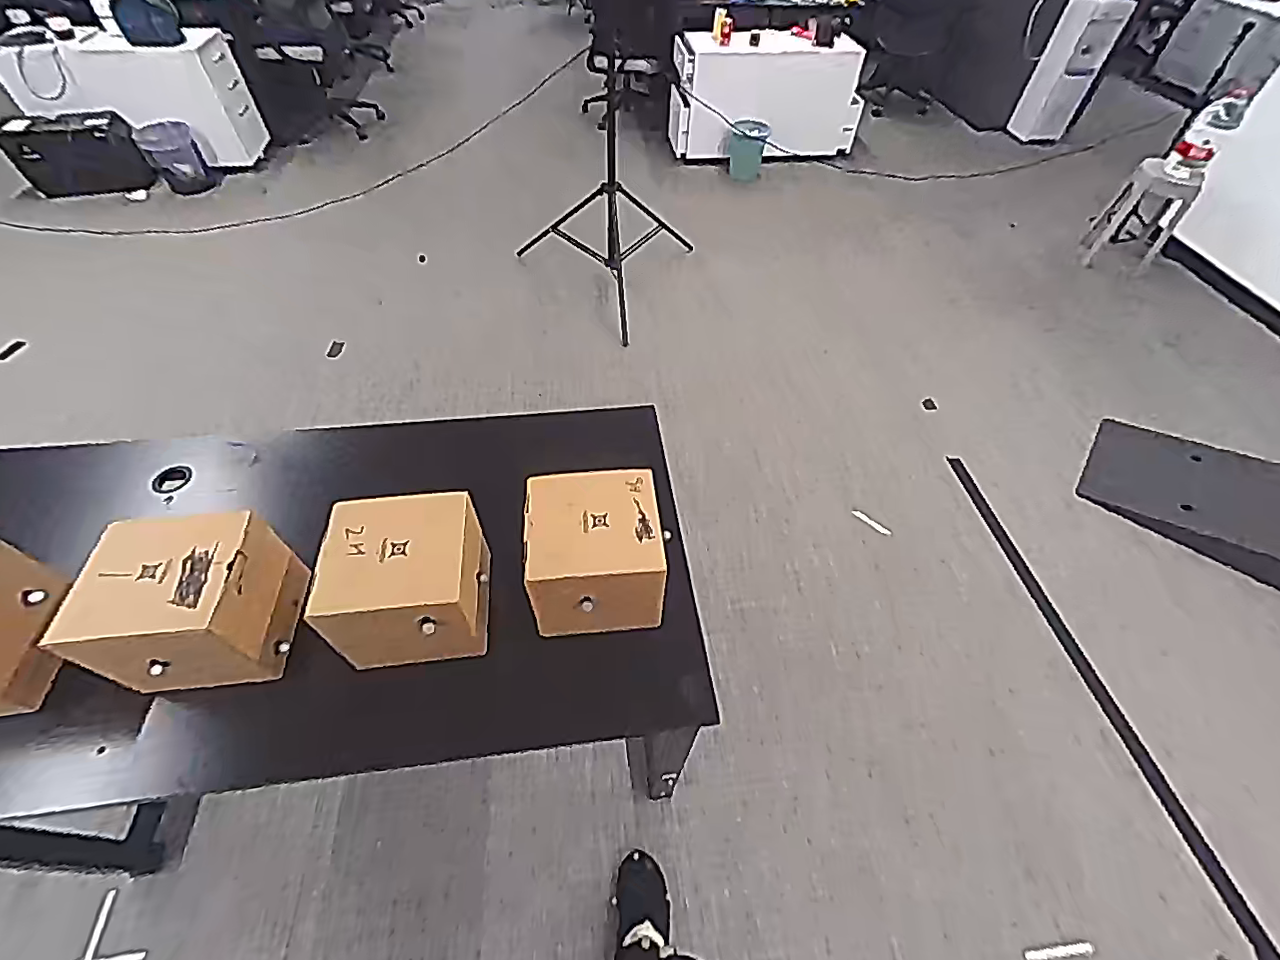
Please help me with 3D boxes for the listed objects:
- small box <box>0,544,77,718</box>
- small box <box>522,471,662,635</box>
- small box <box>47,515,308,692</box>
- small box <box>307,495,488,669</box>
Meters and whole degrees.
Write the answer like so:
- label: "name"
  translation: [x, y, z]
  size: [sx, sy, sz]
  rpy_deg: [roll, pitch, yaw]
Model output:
- label: "small box"
  translation: [-0.868, 0.199, 0.676]
  size: [0.179, 0.176, 0.168]
  rpy_deg: [-7, 51, -7]
- label: "small box"
  translation: [-0.064, 0.108, 0.773]
  size: [0.179, 0.176, 0.168]
  rpy_deg: [-5, 51, -4]
- label: "small box"
  translation: [-0.577, 0.165, 0.711]
  size: [0.179, 0.176, 0.168]
  rpy_deg: [-5, 52, -5]
- label: "small box"
  translation: [-0.309, 0.141, 0.737]
  size: [0.179, 0.176, 0.168]
  rpy_deg: [-5, 51, -7]
